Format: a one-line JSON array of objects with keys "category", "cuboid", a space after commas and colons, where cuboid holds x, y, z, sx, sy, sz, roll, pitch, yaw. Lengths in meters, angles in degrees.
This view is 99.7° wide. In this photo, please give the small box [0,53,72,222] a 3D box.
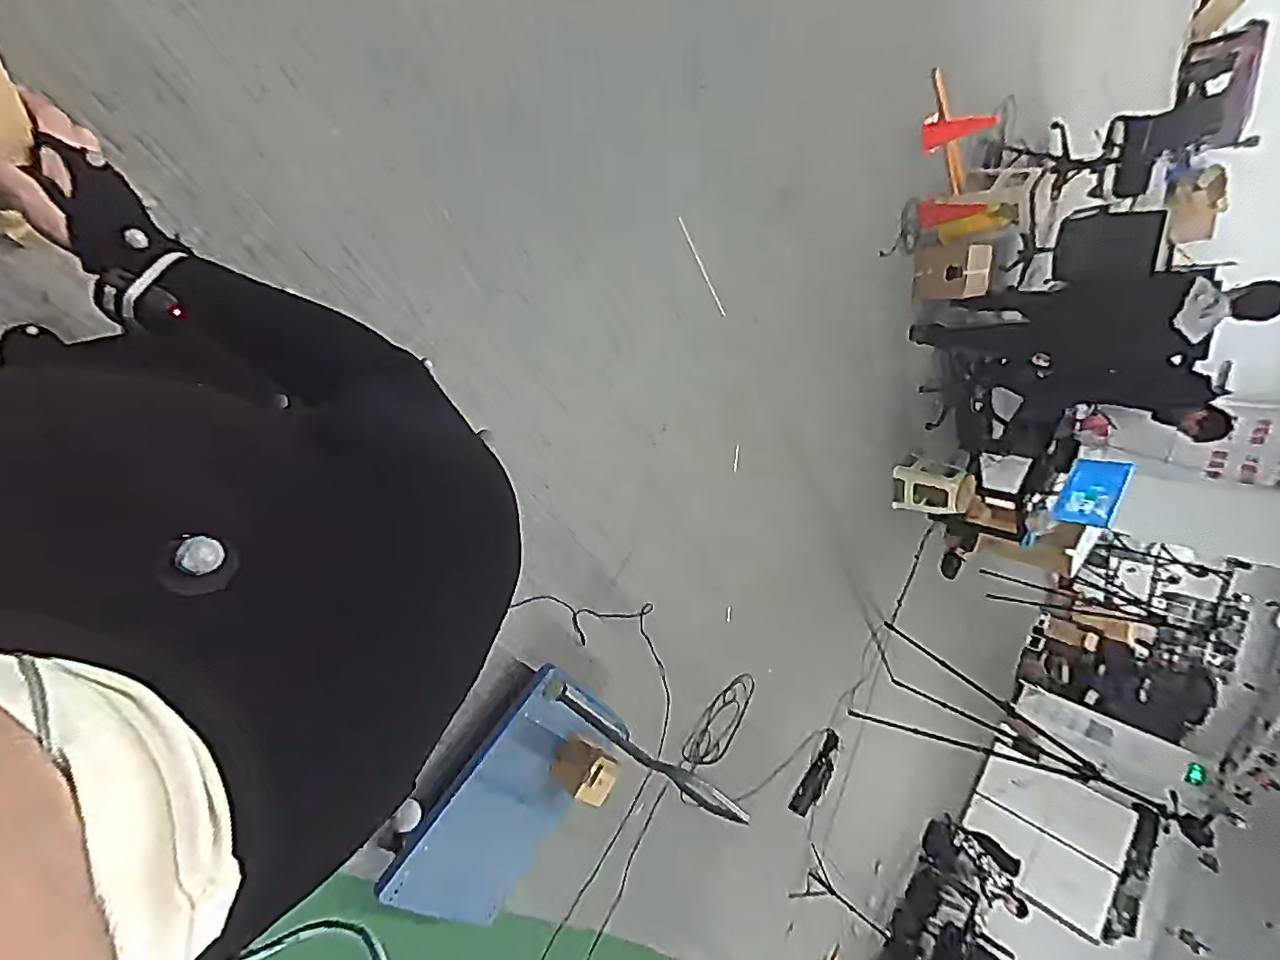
[{"category": "small box", "cuboid": [-0.629, -0.314, 0.445, 0.179, 0.176, 0.168, -28, 116, -37]}]

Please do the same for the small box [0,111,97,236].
[{"category": "small box", "cuboid": [-1.028, -0.514, 0.858, 0.168, 0.176, 0.179, -45, 128, -23]}]

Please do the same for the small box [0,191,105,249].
[{"category": "small box", "cuboid": [-1.133, -0.542, 0.983, 0.168, 0.176, 0.179, -50, 131, -20]}]
